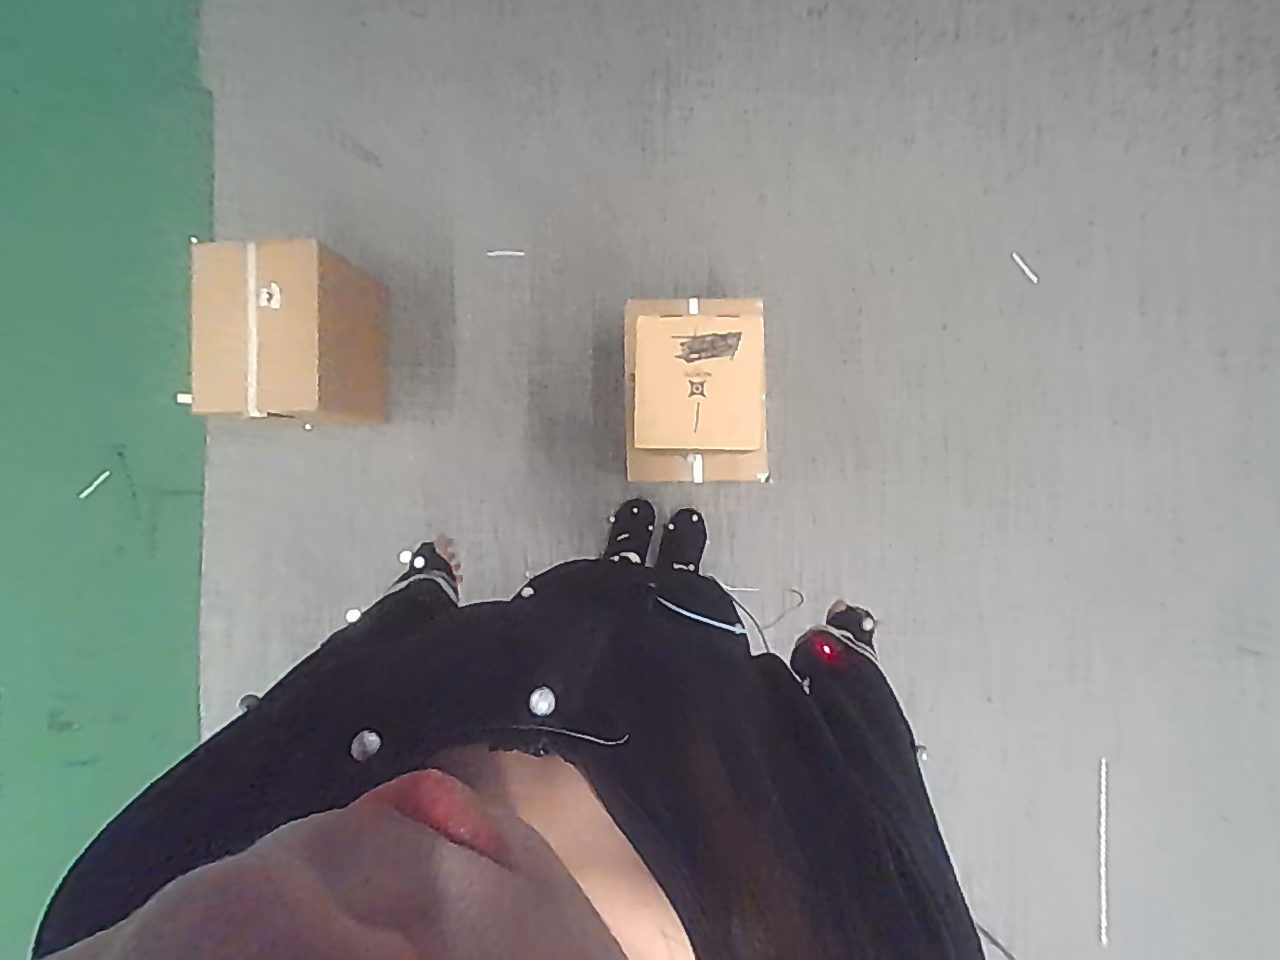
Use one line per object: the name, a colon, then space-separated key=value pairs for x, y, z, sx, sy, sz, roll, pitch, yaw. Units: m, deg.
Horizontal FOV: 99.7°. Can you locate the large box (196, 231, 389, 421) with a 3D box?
large box: x=-0.879 y=-0.372 z=1.404 sx=0.320 sy=0.320 sz=0.408 roll=0 pitch=90 yaw=4

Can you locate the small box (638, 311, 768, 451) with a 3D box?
small box: x=0.086 y=-0.133 z=0.779 sx=0.168 sy=0.176 sz=0.179 roll=1 pitch=92 yaw=4
